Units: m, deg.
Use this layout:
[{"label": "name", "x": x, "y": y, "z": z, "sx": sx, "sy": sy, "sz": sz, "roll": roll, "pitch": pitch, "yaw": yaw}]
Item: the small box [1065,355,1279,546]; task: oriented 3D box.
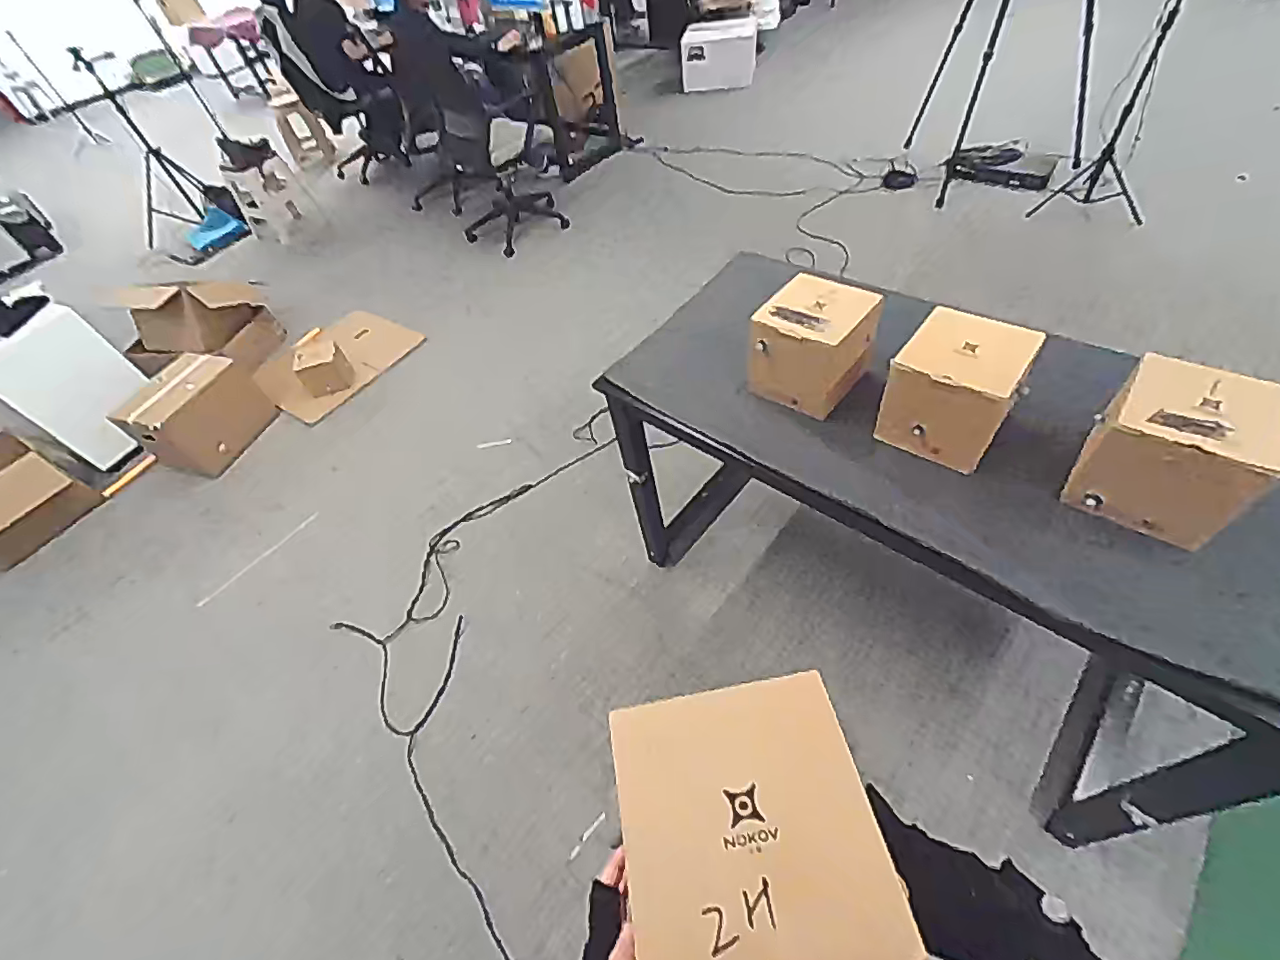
[{"label": "small box", "x": 0.740, "y": -0.039, "z": 0.757, "sx": 0.168, "sy": 0.176, "sz": 0.179, "roll": 29, "pitch": 60, "yaw": 30}]

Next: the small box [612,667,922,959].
[{"label": "small box", "x": 0.077, "y": 0.273, "z": 0.418, "sx": 0.168, "sy": 0.176, "sz": 0.179, "roll": -11, "pitch": 49, "yaw": -1}]

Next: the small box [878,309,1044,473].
[{"label": "small box", "x": 0.517, "y": -0.147, "z": 0.894, "sx": 0.168, "sy": 0.176, "sz": 0.179, "roll": 29, "pitch": 62, "yaw": 30}]
